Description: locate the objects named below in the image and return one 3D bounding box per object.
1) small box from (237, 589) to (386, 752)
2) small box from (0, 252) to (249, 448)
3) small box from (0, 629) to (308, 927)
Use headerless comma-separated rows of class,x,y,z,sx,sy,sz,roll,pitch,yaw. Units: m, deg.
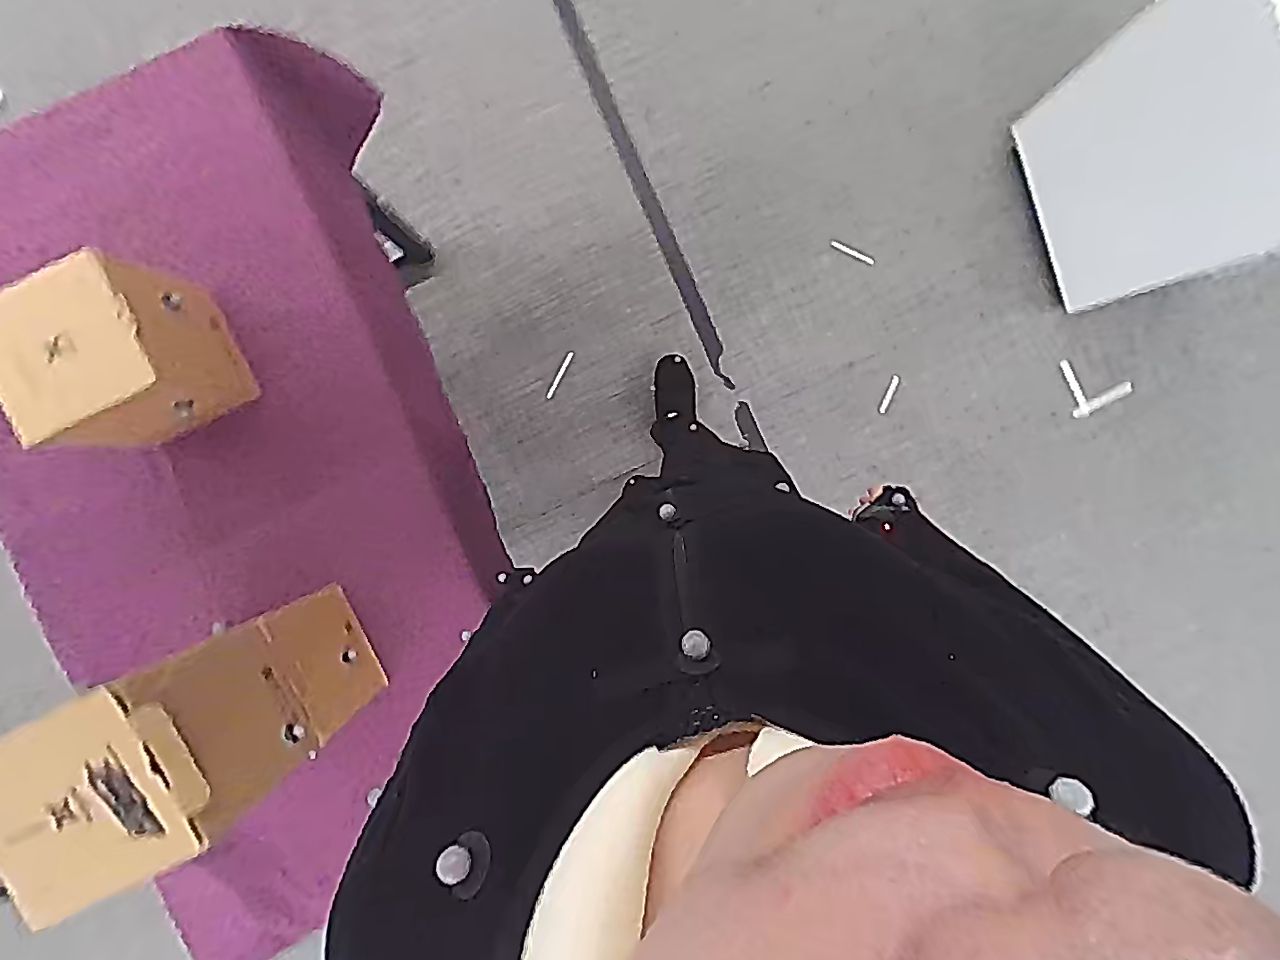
small box,-0.477,0.265,0.710,0.179,0.176,0.168,-26,93,1
small box,-0.645,-0.151,0.683,0.179,0.176,0.168,-25,93,2
small box,-0.479,0.277,0.546,0.179,0.176,0.168,-27,93,2
